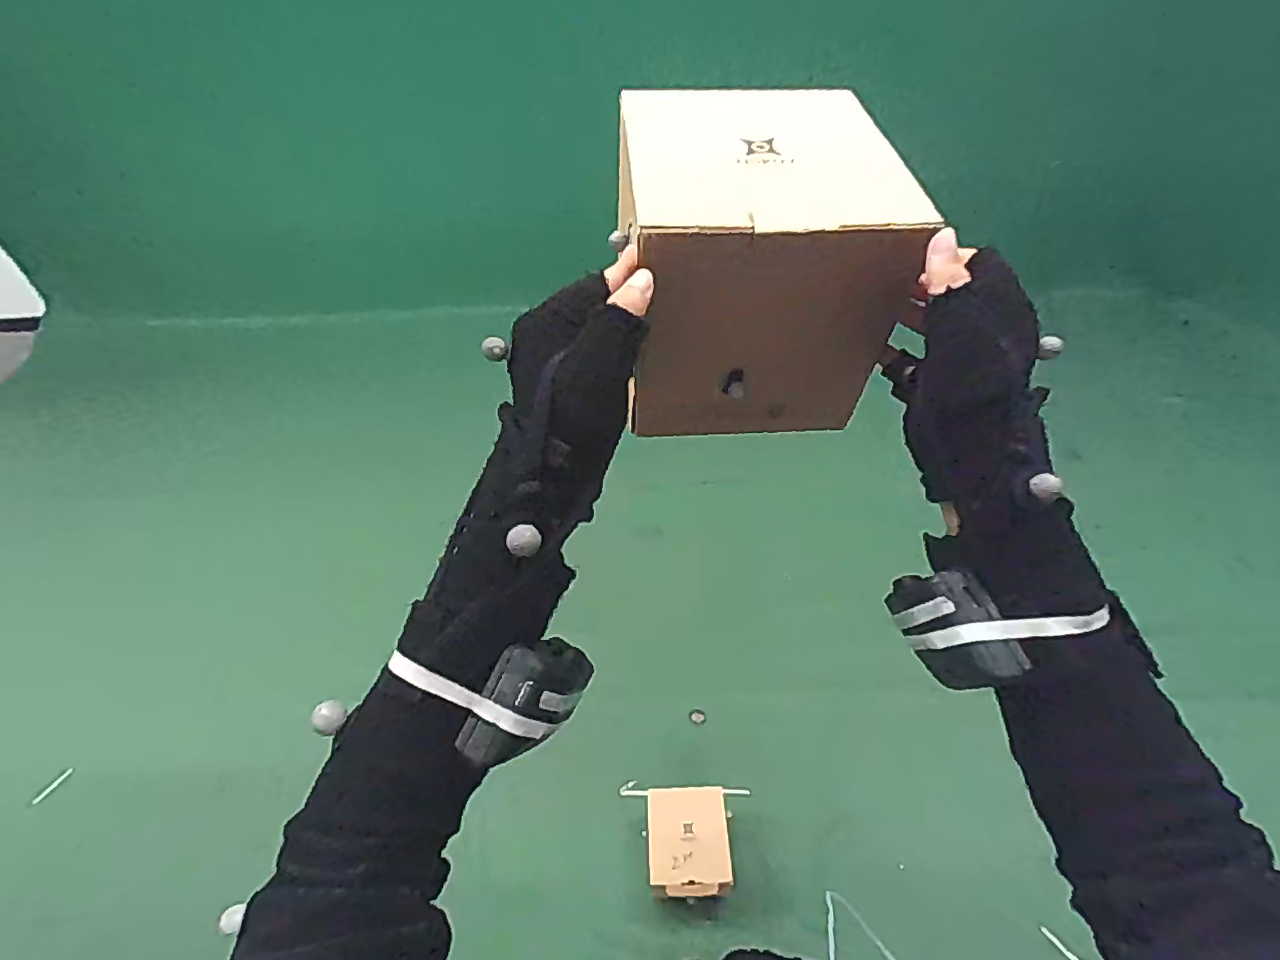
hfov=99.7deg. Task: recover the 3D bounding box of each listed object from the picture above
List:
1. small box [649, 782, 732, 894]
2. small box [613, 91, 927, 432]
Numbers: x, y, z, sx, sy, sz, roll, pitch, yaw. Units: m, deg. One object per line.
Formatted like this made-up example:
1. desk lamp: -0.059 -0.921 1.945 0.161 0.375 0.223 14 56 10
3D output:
1. small box: 0.103 0.783 1.184 0.168 0.176 0.179 -2 46 1
2. small box: 0.066 -0.154 0.400 0.168 0.176 0.179 -2 56 -5
